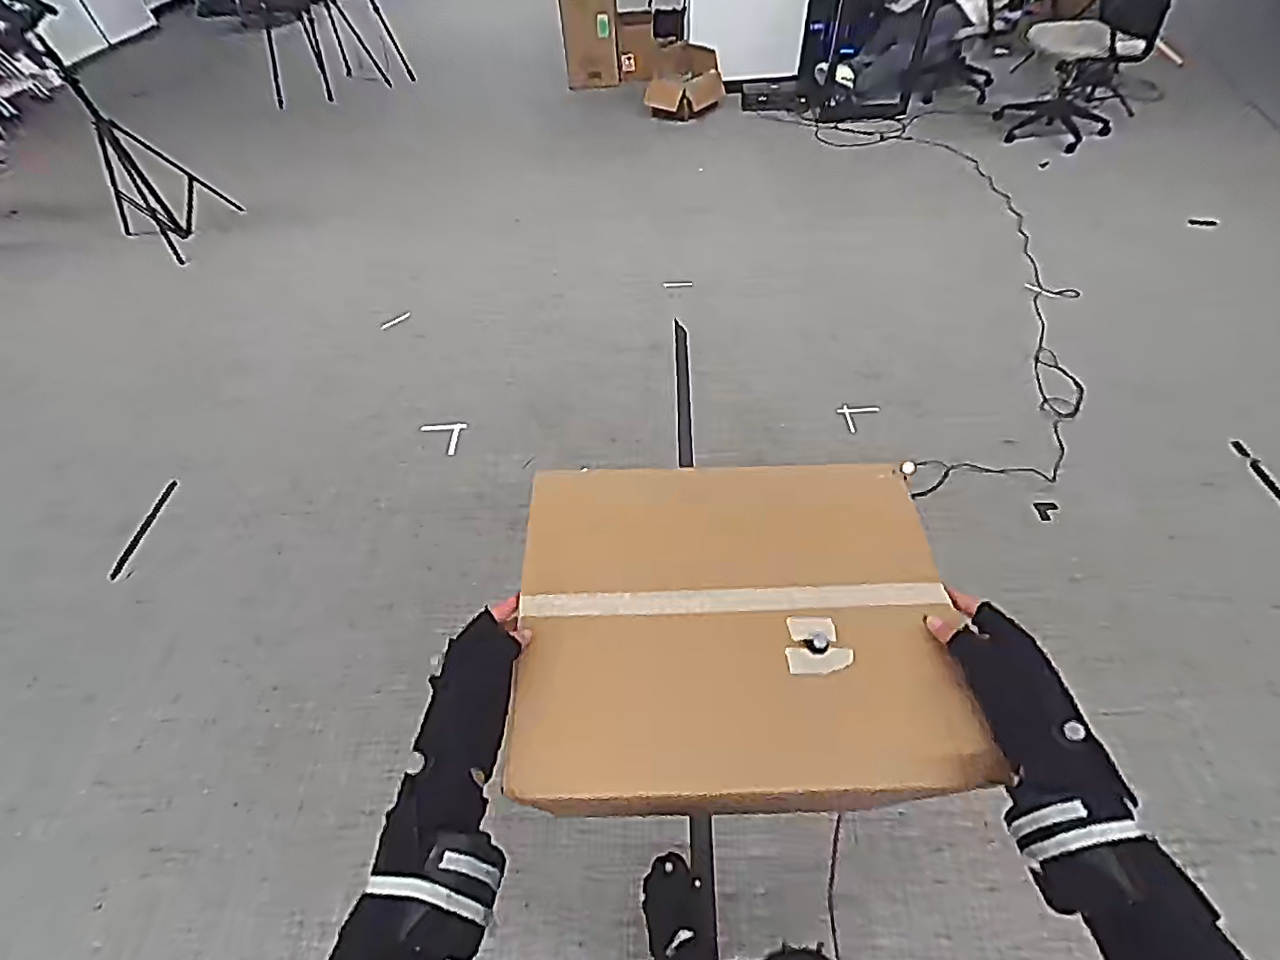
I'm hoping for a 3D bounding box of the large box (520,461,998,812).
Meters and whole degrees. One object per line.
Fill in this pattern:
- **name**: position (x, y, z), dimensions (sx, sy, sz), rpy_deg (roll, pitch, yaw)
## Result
- **large box**: position (0.090, 0.195, 0.644), dimensions (0.408, 0.320, 0.320), rpy_deg (-1, 56, -2)
